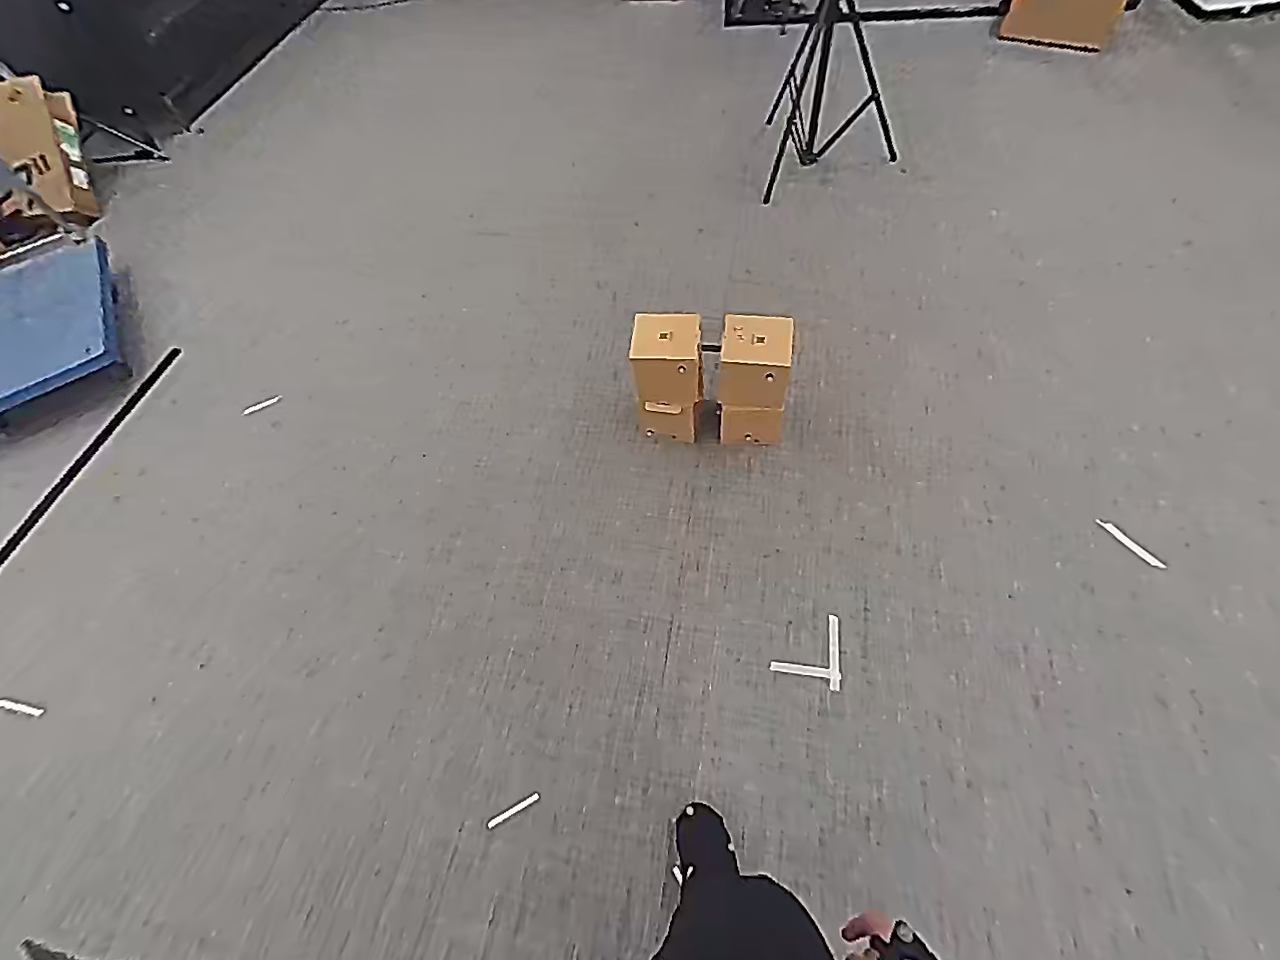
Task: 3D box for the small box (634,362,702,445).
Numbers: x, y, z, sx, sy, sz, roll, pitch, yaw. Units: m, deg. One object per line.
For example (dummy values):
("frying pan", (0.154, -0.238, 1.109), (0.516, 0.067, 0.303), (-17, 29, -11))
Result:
("small box", (0.090, -0.223, 1.599), (0.168, 0.176, 0.179), (9, 59, 12))
